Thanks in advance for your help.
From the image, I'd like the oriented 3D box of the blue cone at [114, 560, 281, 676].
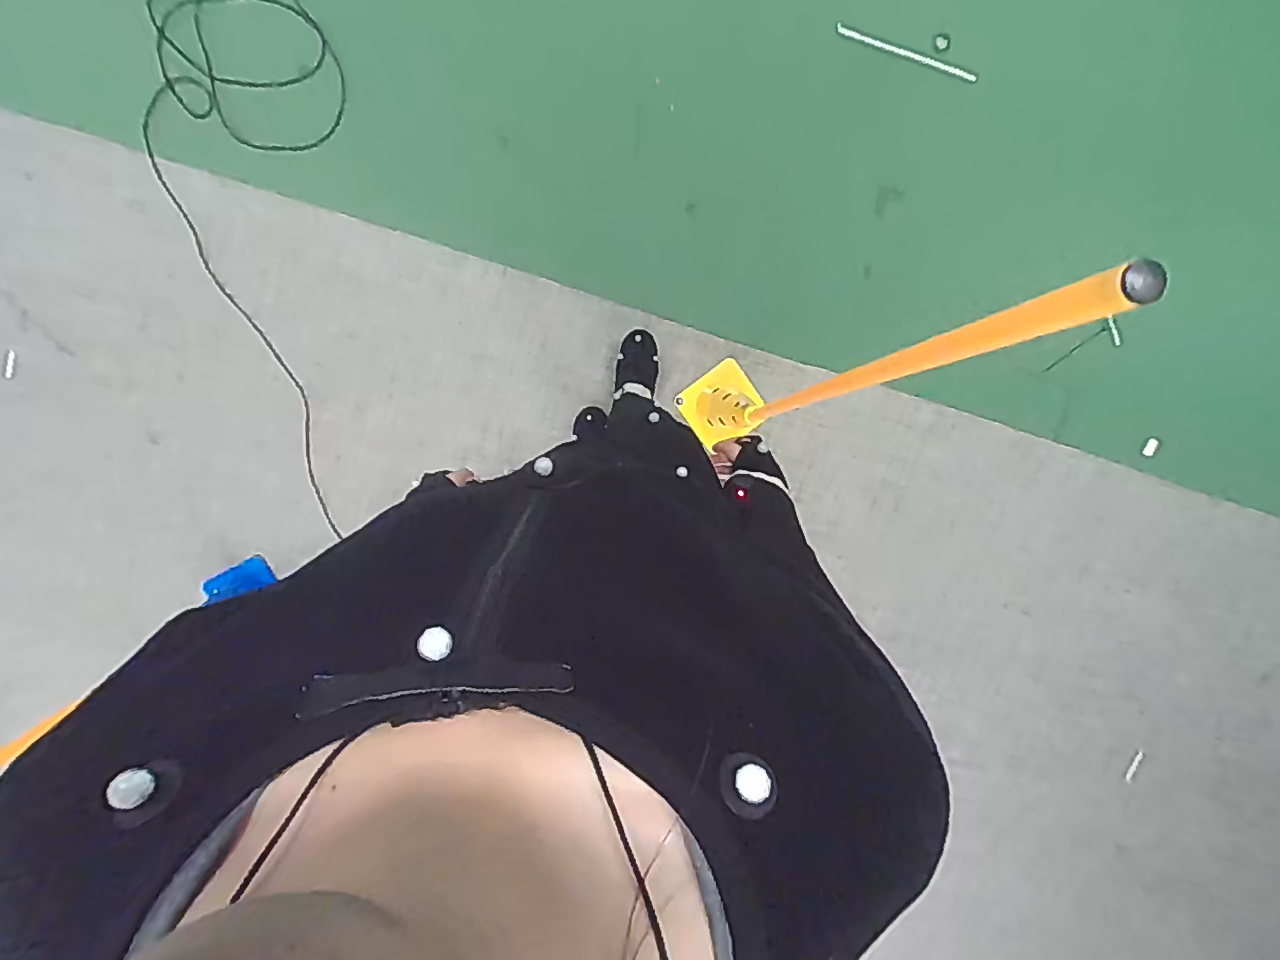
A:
[{"bbox_3d":[-1.110,0.371,1.340,0.193,0.380,0.192,-28,102,5],"label":"blue cone"}]
